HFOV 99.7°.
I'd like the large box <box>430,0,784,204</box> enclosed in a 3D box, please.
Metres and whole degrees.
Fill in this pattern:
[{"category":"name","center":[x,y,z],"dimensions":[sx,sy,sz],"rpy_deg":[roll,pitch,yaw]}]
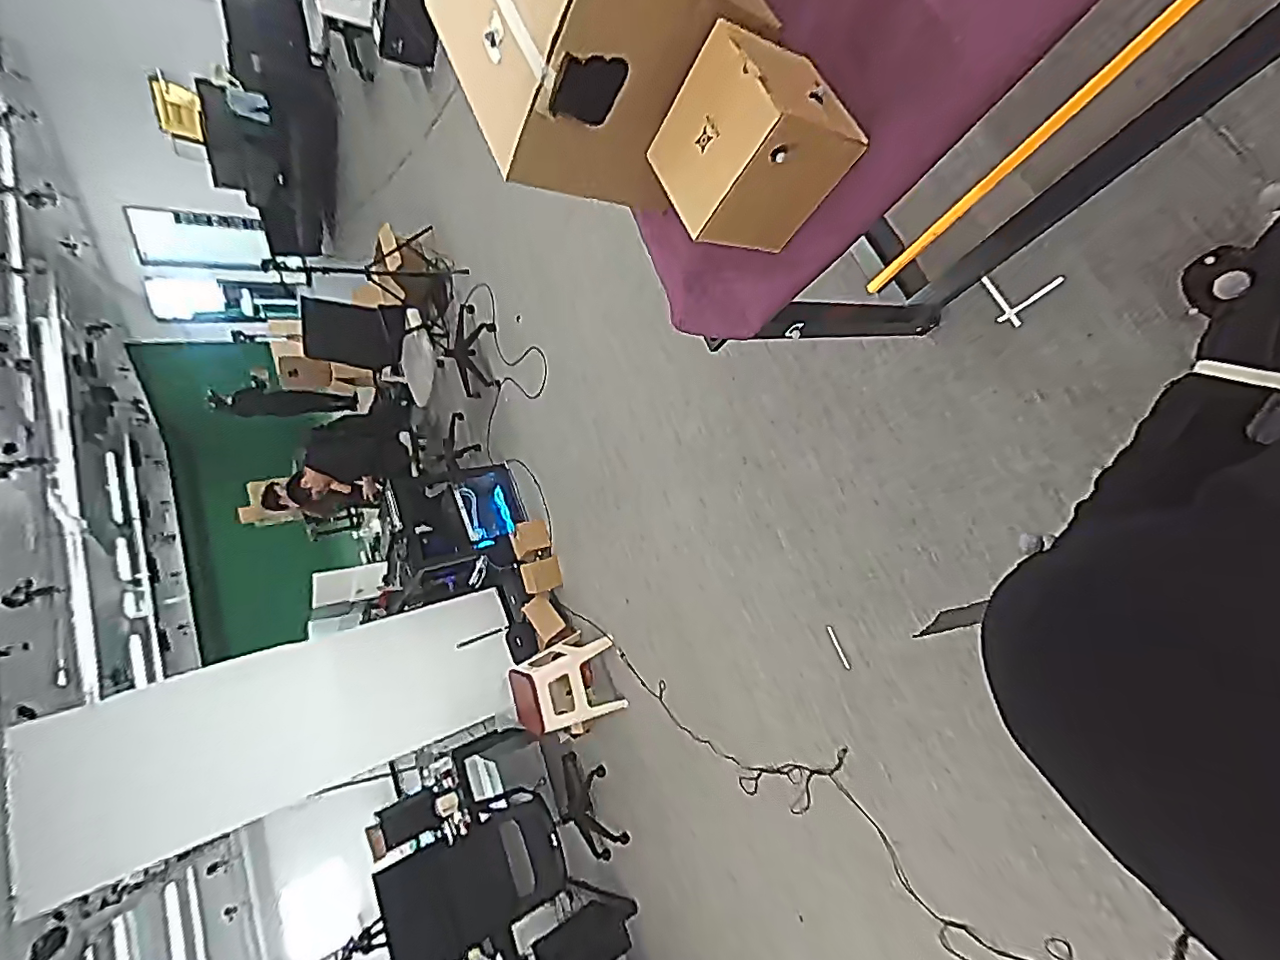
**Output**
[{"category":"large box","center":[-0.069,-0.695,0.802],"dimensions":[0.320,0.320,0.408],"rpy_deg":[-44,67,49]}]

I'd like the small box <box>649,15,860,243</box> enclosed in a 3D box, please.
[{"category":"small box","center":[0.145,-0.437,0.707],"dimensions":[0.179,0.176,0.168],"rpy_deg":[-46,62,49]}]
